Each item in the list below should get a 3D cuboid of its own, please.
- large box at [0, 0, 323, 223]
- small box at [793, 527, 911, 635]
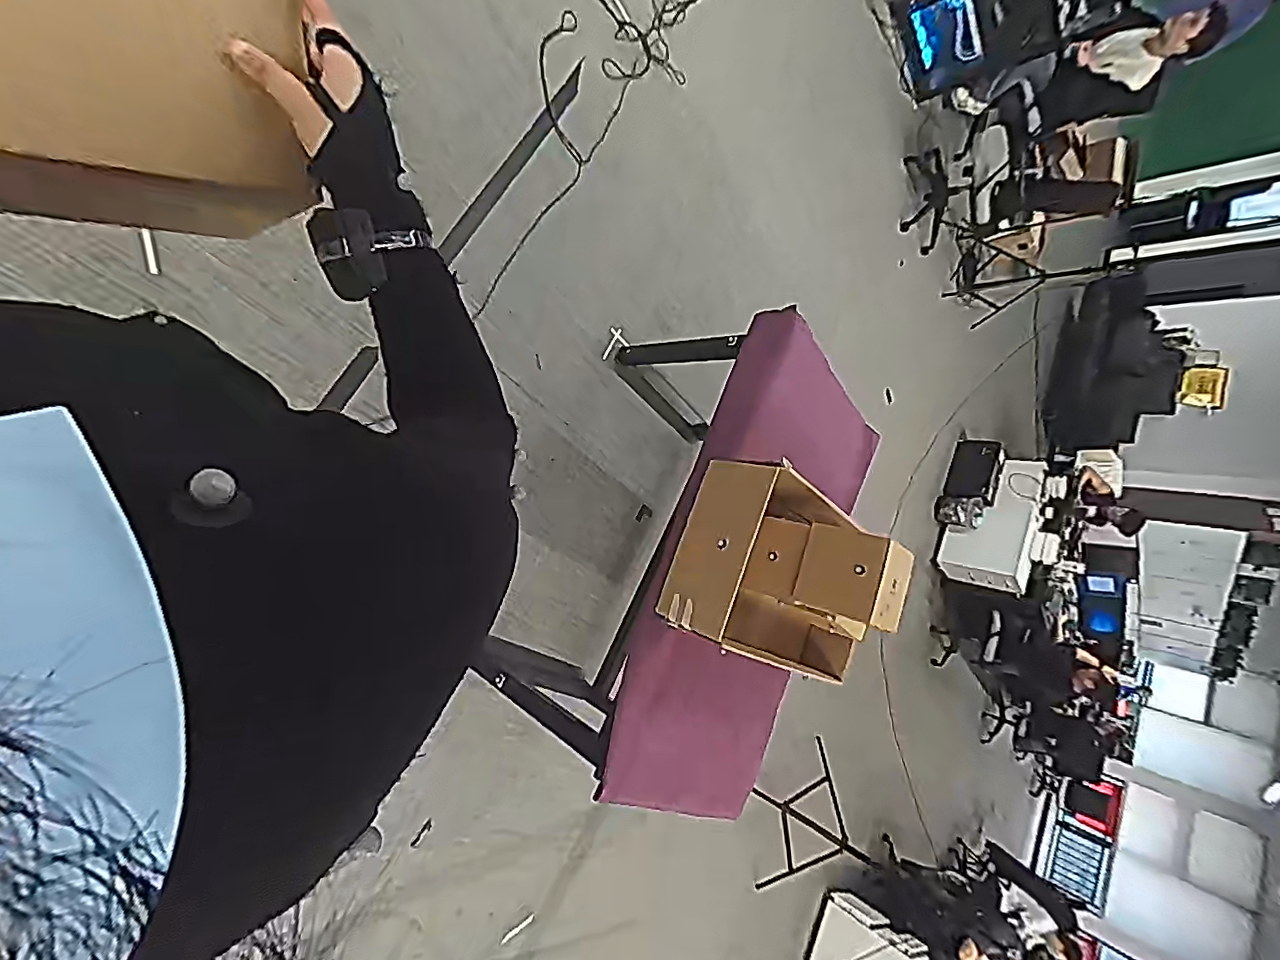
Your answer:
[{"bbox_3d":[-0.505,-0.381,0.374,0.408,0.320,0.320,-14,111,-43],"label":"large box"},{"bbox_3d":[0.450,0.211,1.153,0.168,0.176,0.179,26,80,-45],"label":"small box"}]
